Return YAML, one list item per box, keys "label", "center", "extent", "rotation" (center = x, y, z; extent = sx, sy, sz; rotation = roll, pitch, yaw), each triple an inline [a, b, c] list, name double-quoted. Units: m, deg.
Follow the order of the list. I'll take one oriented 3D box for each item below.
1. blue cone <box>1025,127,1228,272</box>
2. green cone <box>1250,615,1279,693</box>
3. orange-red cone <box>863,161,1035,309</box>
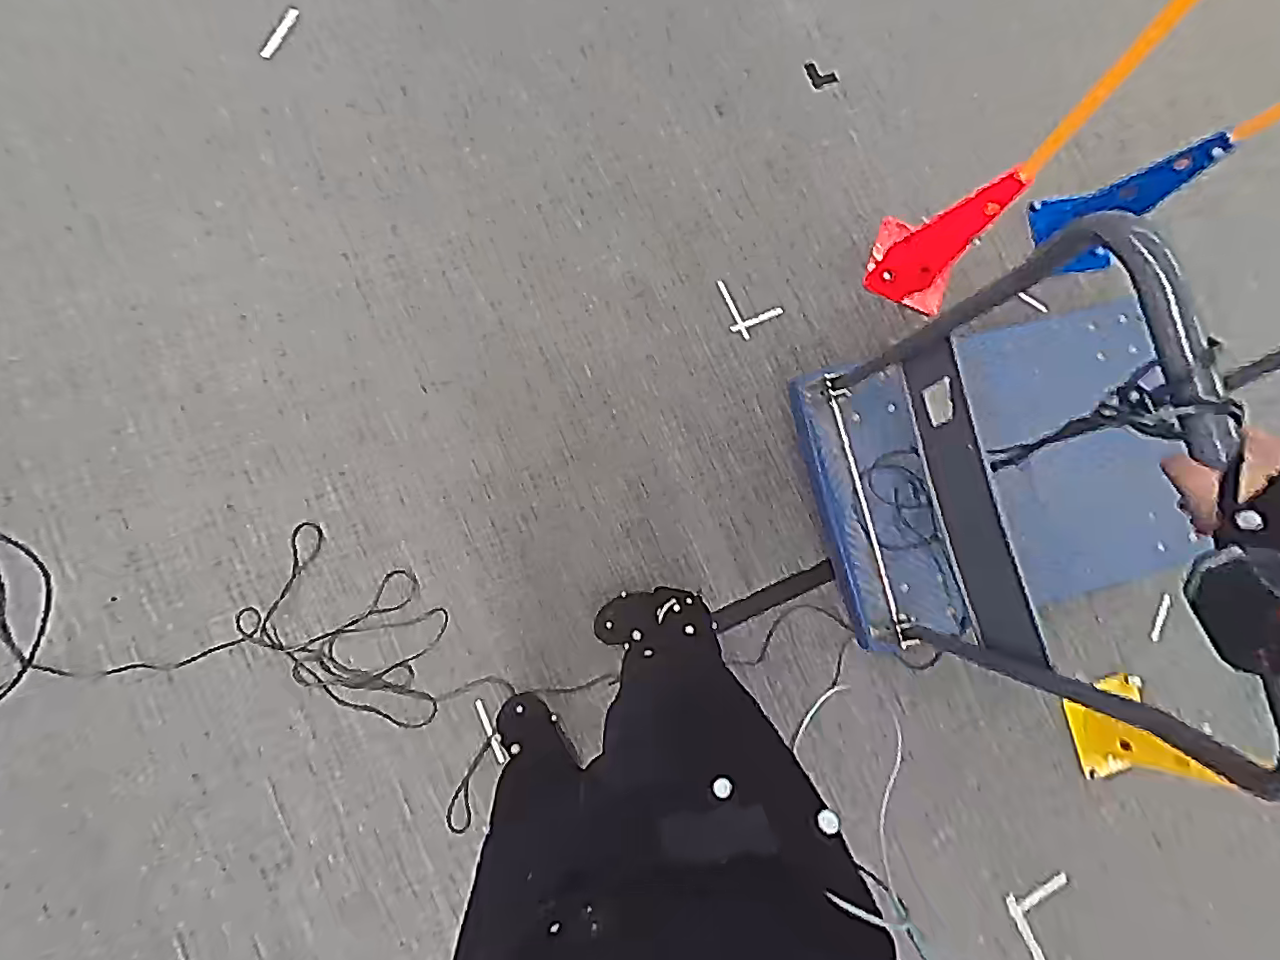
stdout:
- label: "blue cone"
  center: [1.103, -0.647, 1.221]
  extent: [0.192, 0.380, 0.193]
  rotation: [-9, 85, -6]
- label: "green cone"
  center: [1.625, 0.412, 1.154]
  extent: [0.202, 0.368, 0.200]
  rotation: [-37, 89, -7]
- label: "orange-red cone"
  center: [0.677, -0.547, 1.150]
  extent: [0.199, 0.360, 0.198]
  rotation: [22, 83, -5]
